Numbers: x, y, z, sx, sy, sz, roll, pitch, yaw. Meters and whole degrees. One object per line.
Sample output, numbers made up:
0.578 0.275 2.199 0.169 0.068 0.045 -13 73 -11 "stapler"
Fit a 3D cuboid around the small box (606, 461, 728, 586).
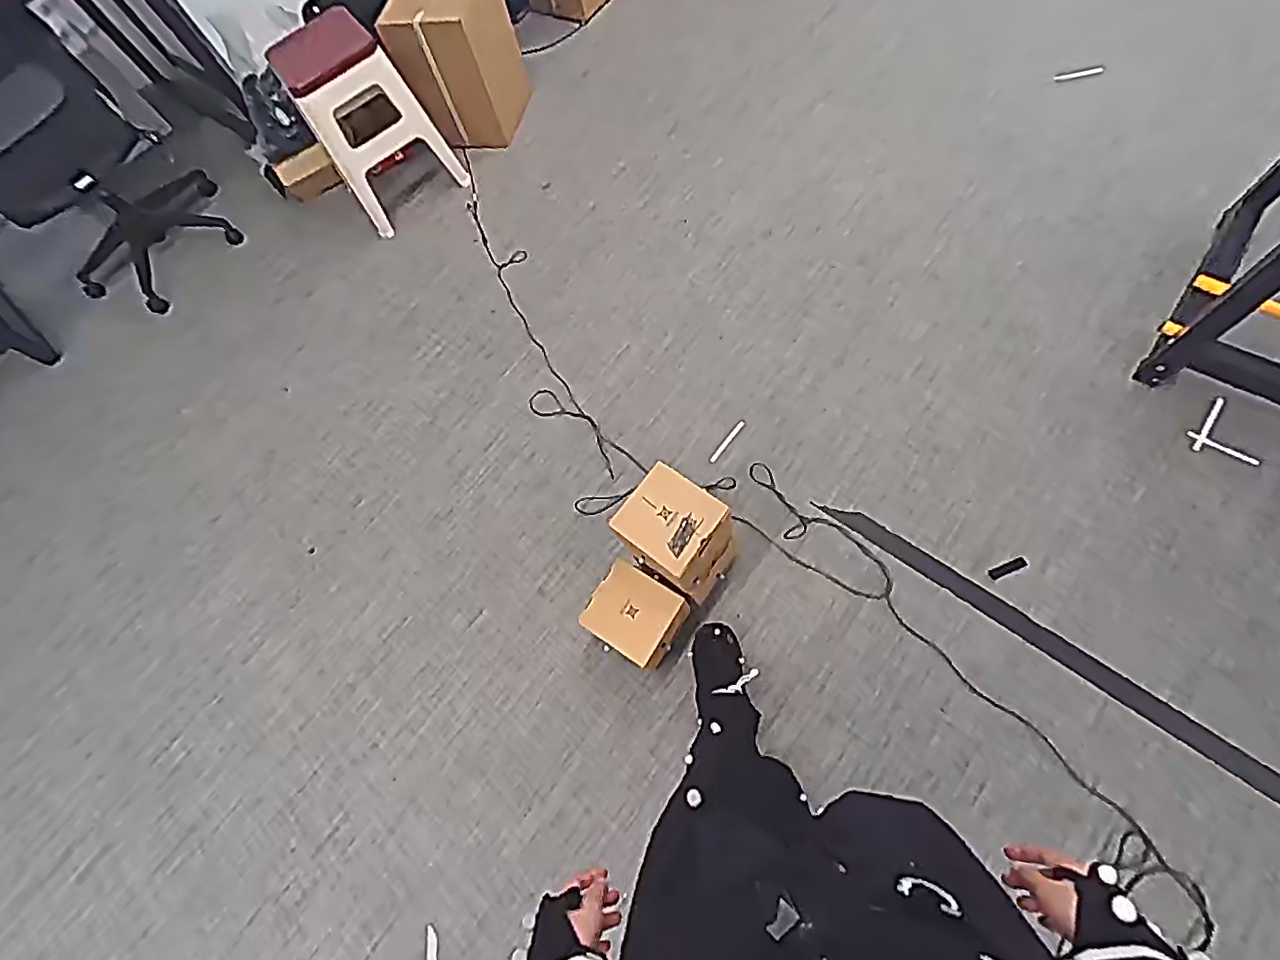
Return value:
0.065 0.096 1.087 0.179 0.176 0.168 35 78 22 "small box"
